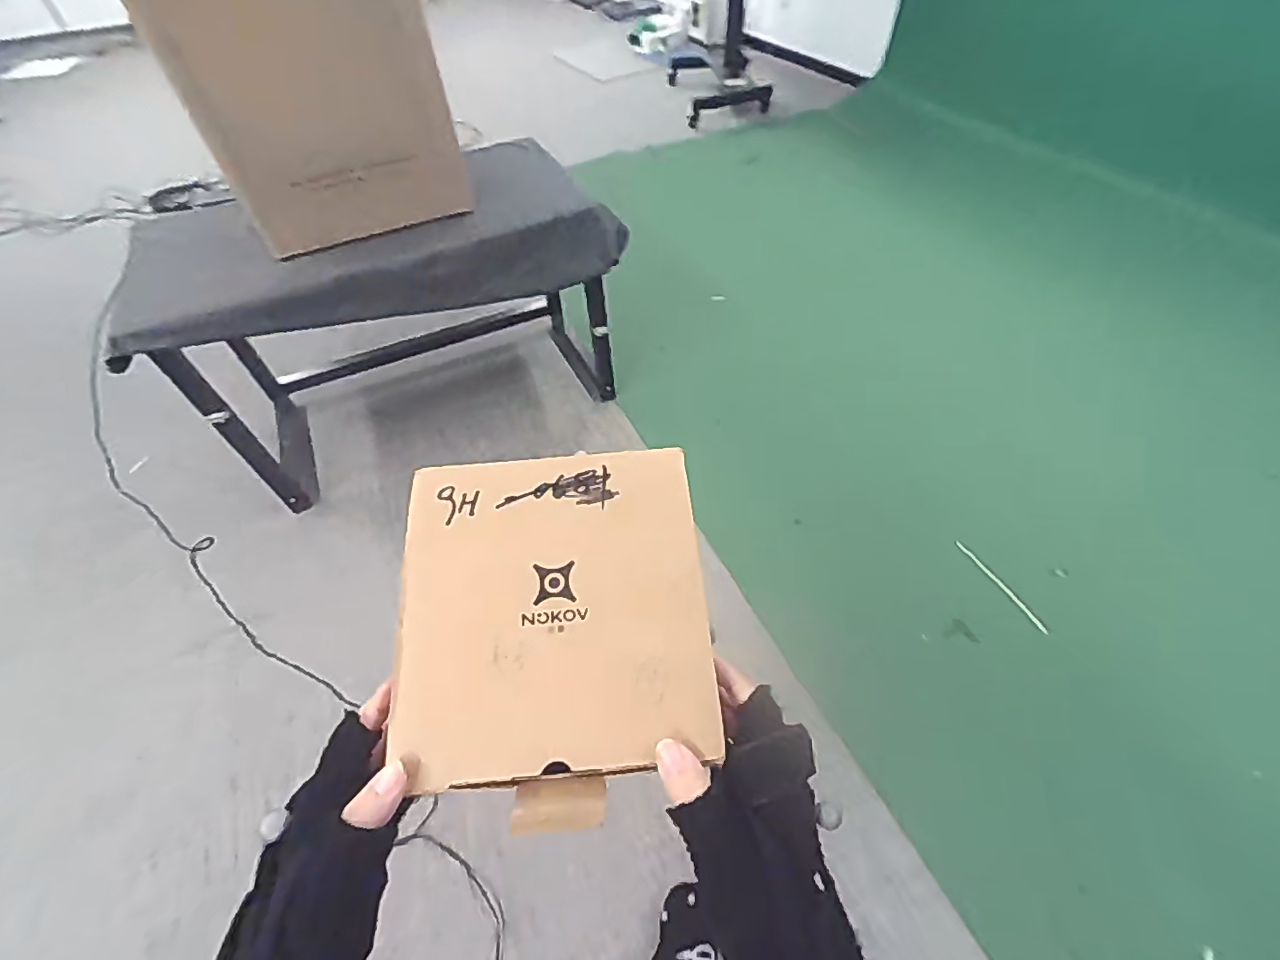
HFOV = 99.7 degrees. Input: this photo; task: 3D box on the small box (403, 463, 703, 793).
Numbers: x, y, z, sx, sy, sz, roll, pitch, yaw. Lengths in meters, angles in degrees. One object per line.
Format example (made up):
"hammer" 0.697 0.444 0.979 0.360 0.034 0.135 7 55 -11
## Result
"small box" -0.053 0.110 0.393 0.168 0.176 0.179 -8 64 -3
